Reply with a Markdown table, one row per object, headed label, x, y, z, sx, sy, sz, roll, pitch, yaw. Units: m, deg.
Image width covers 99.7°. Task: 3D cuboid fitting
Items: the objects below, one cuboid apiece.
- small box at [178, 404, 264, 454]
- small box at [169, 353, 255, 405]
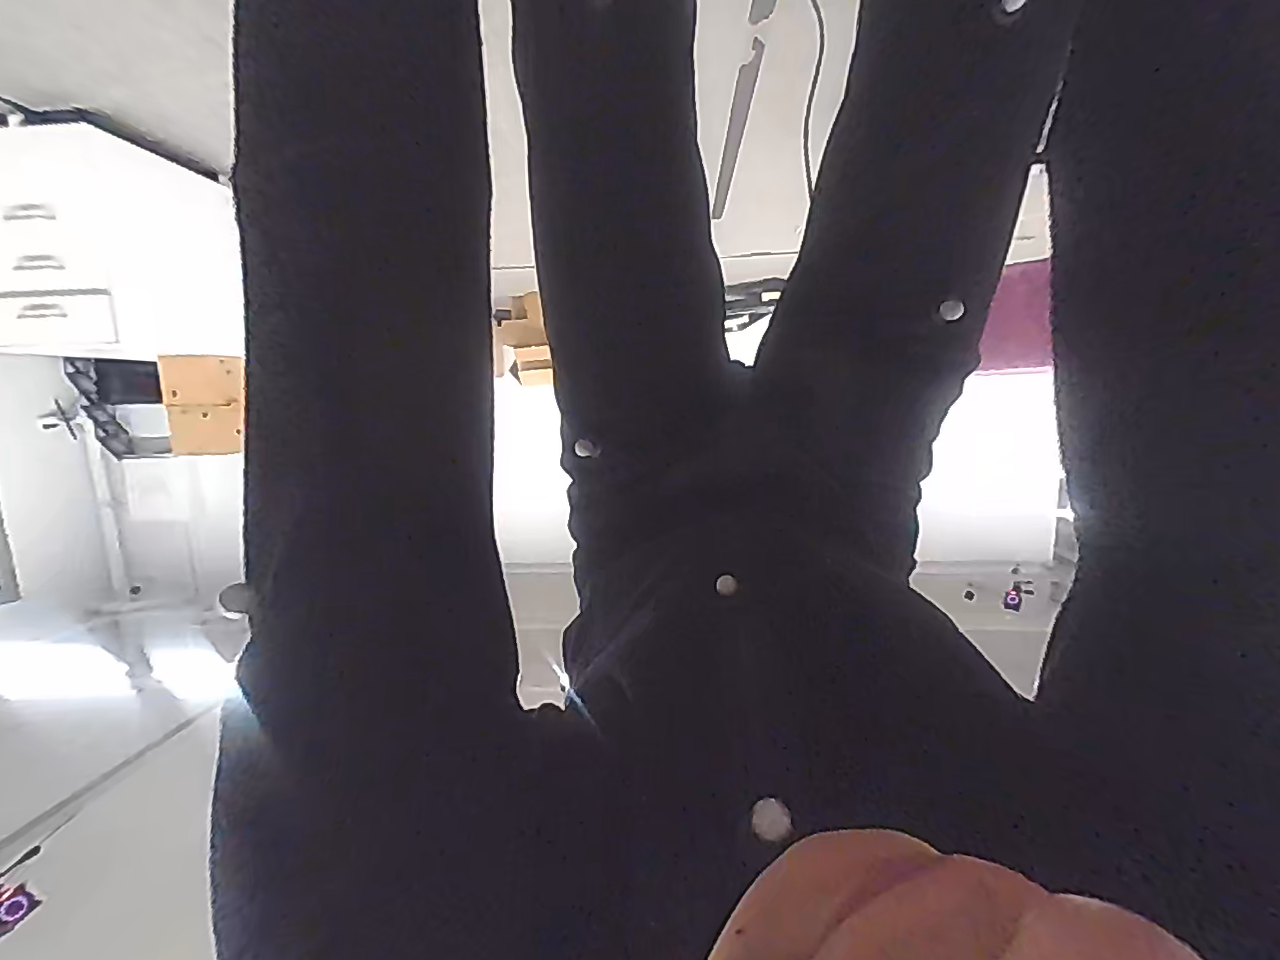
| label | x | y | z | sx | sy | sz | roll | pitch | yaw |
| --- | --- | --- | --- | --- | --- | --- | --- | --- | --- |
| small box | -1.475 | -0.185 | 1.905 | 0.168 | 0.176 | 0.179 | 0 | -170 | 4 |
| small box | -1.485 | -0.347 | 1.877 | 0.179 | 0.176 | 0.168 | 0 | -170 | 5 |
